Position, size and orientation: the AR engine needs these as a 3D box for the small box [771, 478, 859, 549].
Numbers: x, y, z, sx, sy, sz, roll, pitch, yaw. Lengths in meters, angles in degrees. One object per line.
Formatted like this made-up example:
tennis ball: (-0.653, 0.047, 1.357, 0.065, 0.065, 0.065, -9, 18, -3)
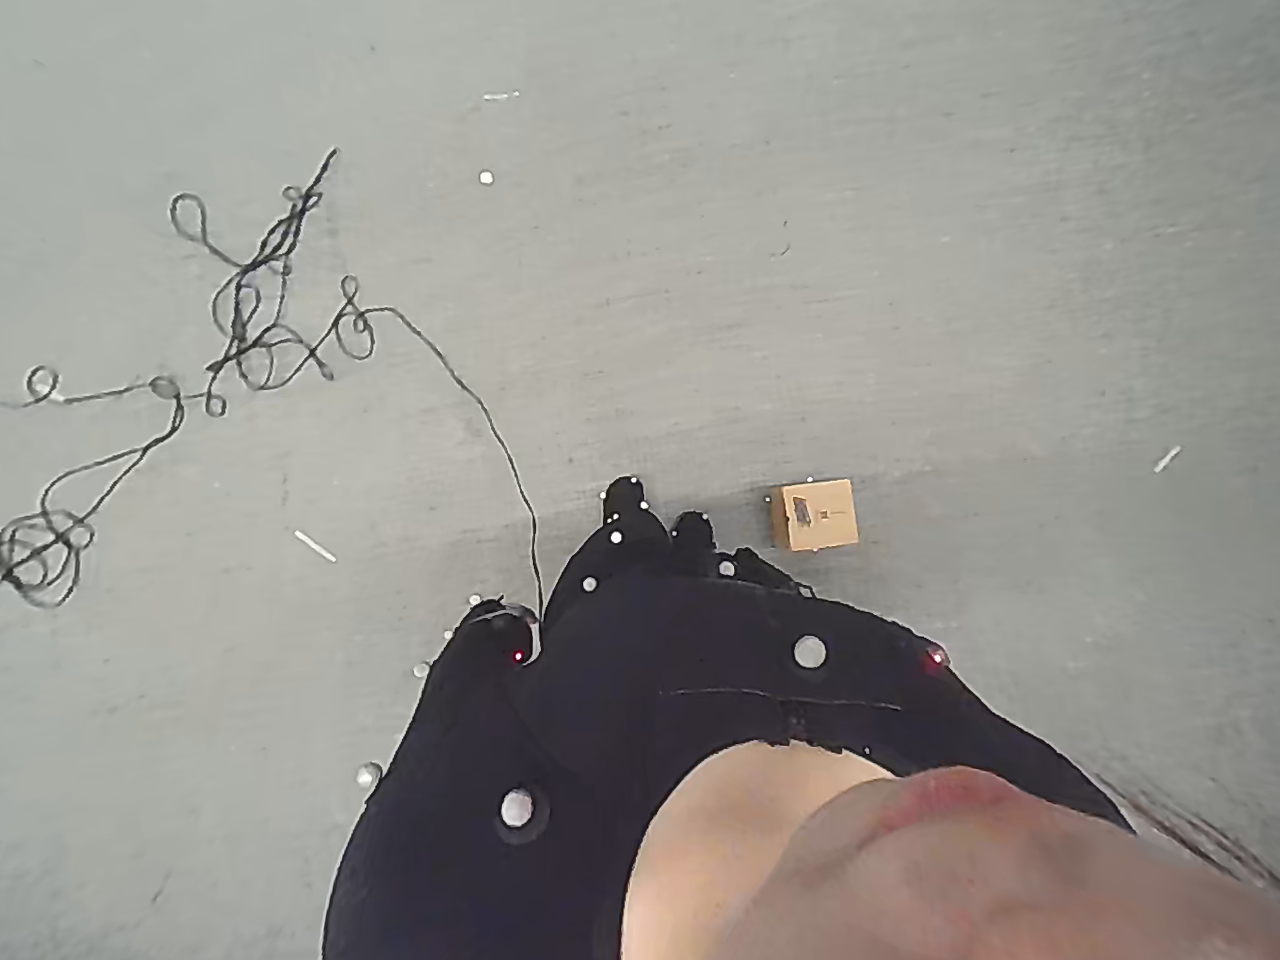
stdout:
small box: (0.453, 0.086, 1.432, 0.179, 0.176, 0.168, -7, 89, -1)
